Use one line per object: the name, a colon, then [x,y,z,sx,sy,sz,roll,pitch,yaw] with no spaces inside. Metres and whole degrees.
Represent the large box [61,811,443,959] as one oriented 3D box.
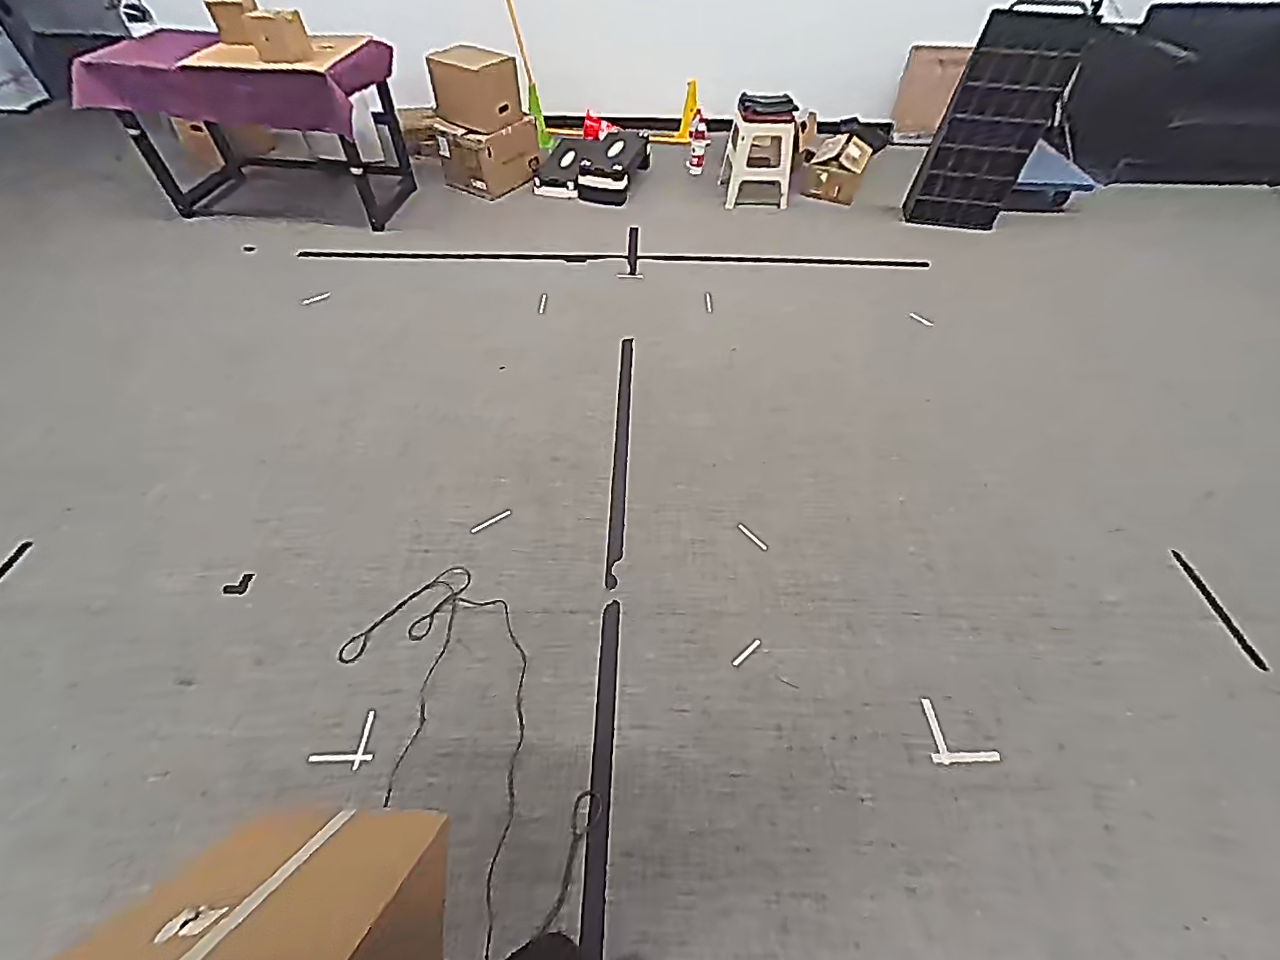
large box: [-0.475,0.679,0.670,0.320,0.408,0.320,1,85,1]
